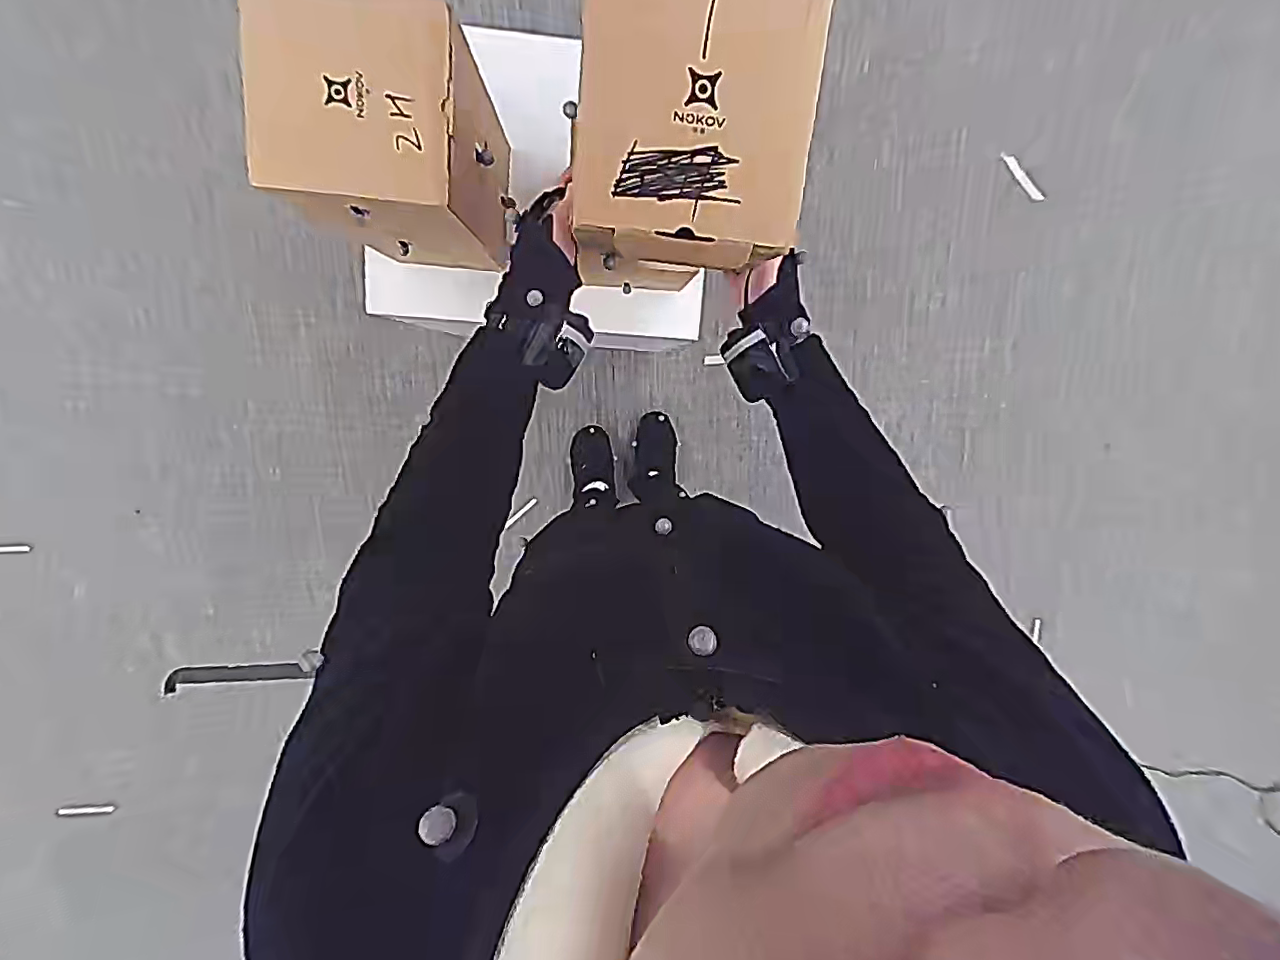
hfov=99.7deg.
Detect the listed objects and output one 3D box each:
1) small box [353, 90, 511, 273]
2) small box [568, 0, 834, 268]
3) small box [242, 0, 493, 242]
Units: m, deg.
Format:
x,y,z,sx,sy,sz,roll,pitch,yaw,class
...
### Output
x,y,z,sx,sy,sz,roll,pitch,yaw,class
-0.267,-0.386,0.707,0.168,0.176,0.179,5,100,-4,small box
0.035,-0.279,0.443,0.168,0.176,0.179,4,106,-5,small box
-0.256,-0.350,0.546,0.179,0.176,0.168,4,102,-5,small box
